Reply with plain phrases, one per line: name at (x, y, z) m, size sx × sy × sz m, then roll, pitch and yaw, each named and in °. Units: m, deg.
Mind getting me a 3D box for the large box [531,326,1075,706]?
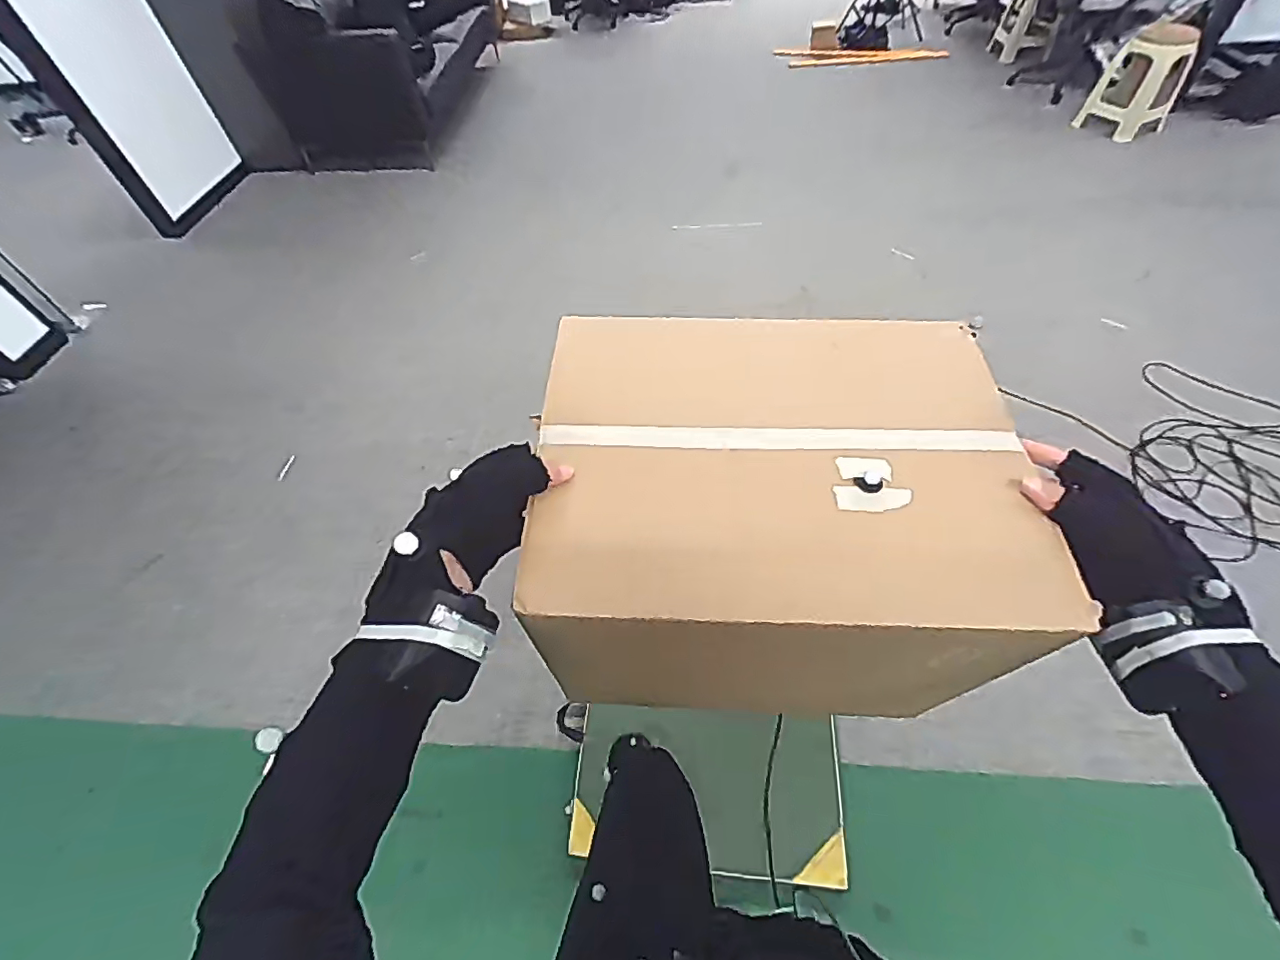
large box at (0.119, 0.053, 0.595) m, size 0.408 × 0.320 × 0.320 m, roll 1°, pitch 57°, yaw 1°
